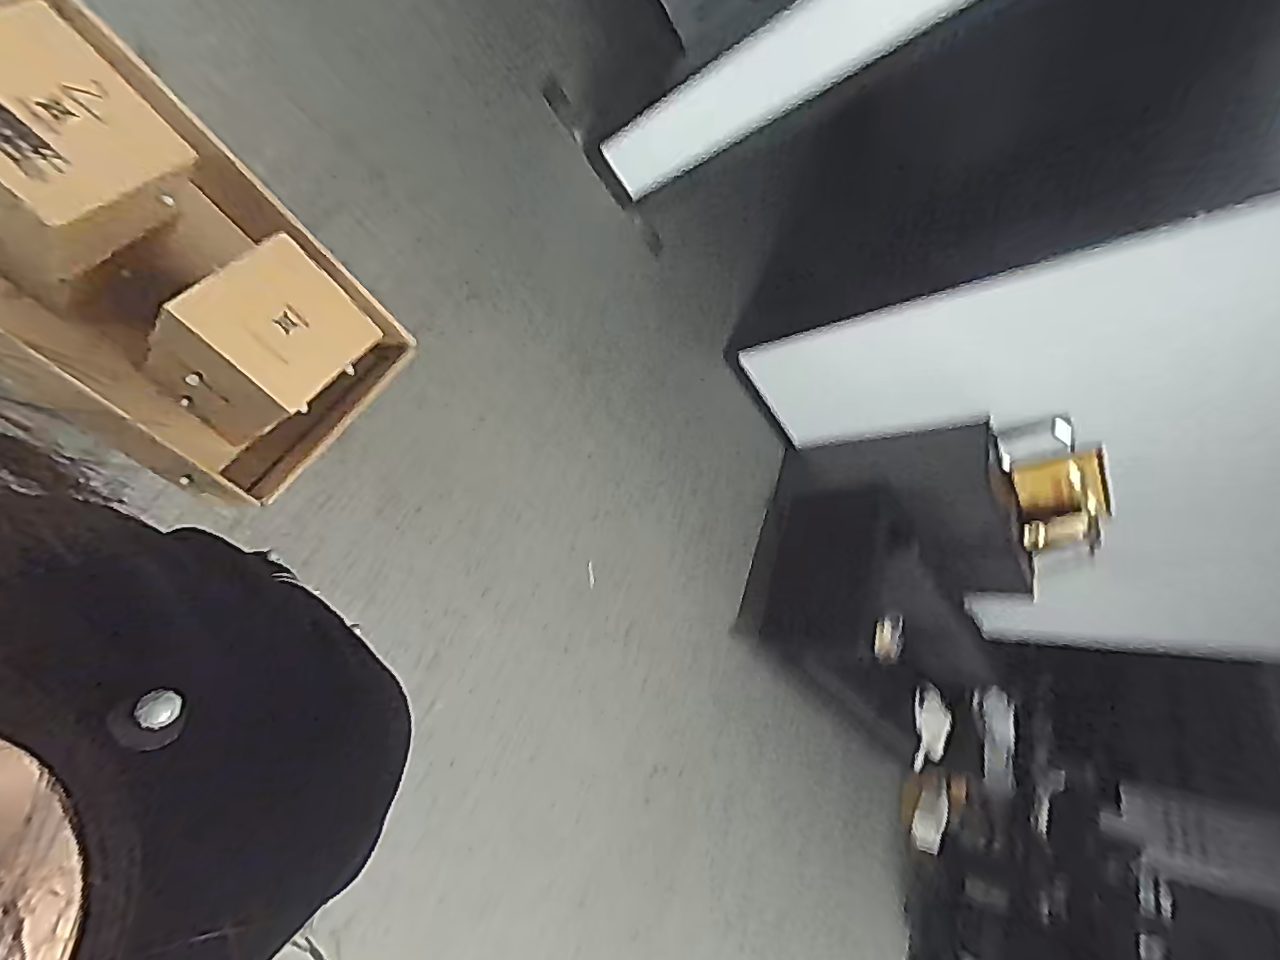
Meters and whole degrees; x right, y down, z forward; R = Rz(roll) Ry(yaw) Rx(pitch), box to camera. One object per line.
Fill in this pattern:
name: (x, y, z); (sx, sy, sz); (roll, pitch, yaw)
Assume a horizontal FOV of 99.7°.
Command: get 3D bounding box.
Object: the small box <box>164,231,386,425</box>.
small box: (-0.497, -0.198, 0.736); (0.168, 0.176, 0.179); (52, 52, -29)
